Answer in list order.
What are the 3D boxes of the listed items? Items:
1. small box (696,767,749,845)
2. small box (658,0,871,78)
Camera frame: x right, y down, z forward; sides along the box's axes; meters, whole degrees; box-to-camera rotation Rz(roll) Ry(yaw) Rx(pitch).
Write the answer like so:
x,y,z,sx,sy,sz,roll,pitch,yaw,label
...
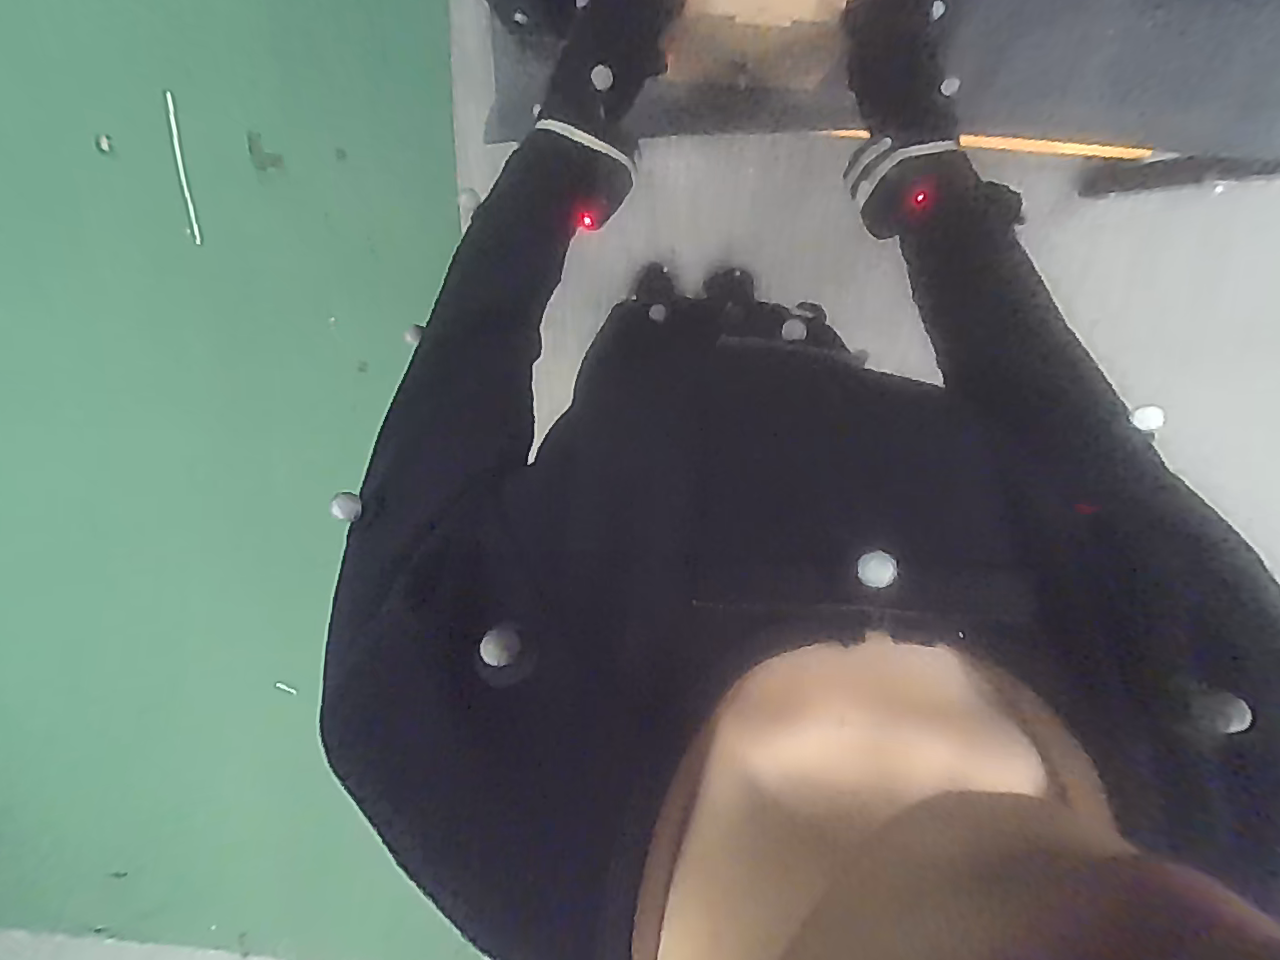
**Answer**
x,y,z,sx,sy,sz,roll,pitch,yaw,label
0.291,1.165,1.936,0.168,0.176,0.179,2,112,2,small box
0.103,-0.474,0.455,0.168,0.176,0.179,4,112,1,small box
